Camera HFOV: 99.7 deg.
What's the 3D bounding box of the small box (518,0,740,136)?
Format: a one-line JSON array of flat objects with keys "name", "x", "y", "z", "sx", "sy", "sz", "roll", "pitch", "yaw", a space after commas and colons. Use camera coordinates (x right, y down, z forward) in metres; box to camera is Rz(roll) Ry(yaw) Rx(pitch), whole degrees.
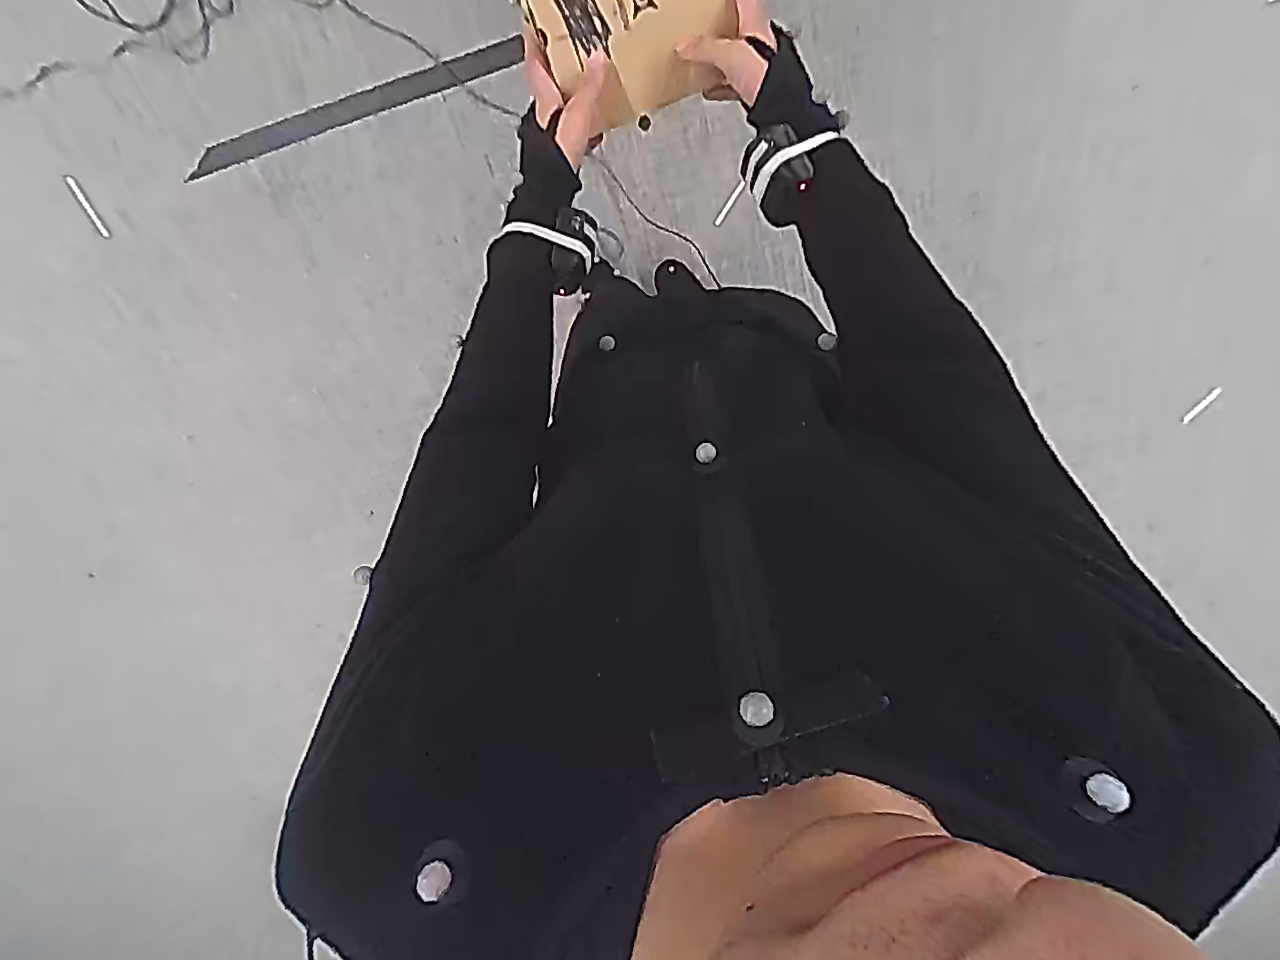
[{"name": "small box", "x": -0.023, "y": -0.458, "z": 0.528, "sx": 0.179, "sy": 0.176, "sz": 0.168, "roll": -21, "pitch": 125, "yaw": 4}]
